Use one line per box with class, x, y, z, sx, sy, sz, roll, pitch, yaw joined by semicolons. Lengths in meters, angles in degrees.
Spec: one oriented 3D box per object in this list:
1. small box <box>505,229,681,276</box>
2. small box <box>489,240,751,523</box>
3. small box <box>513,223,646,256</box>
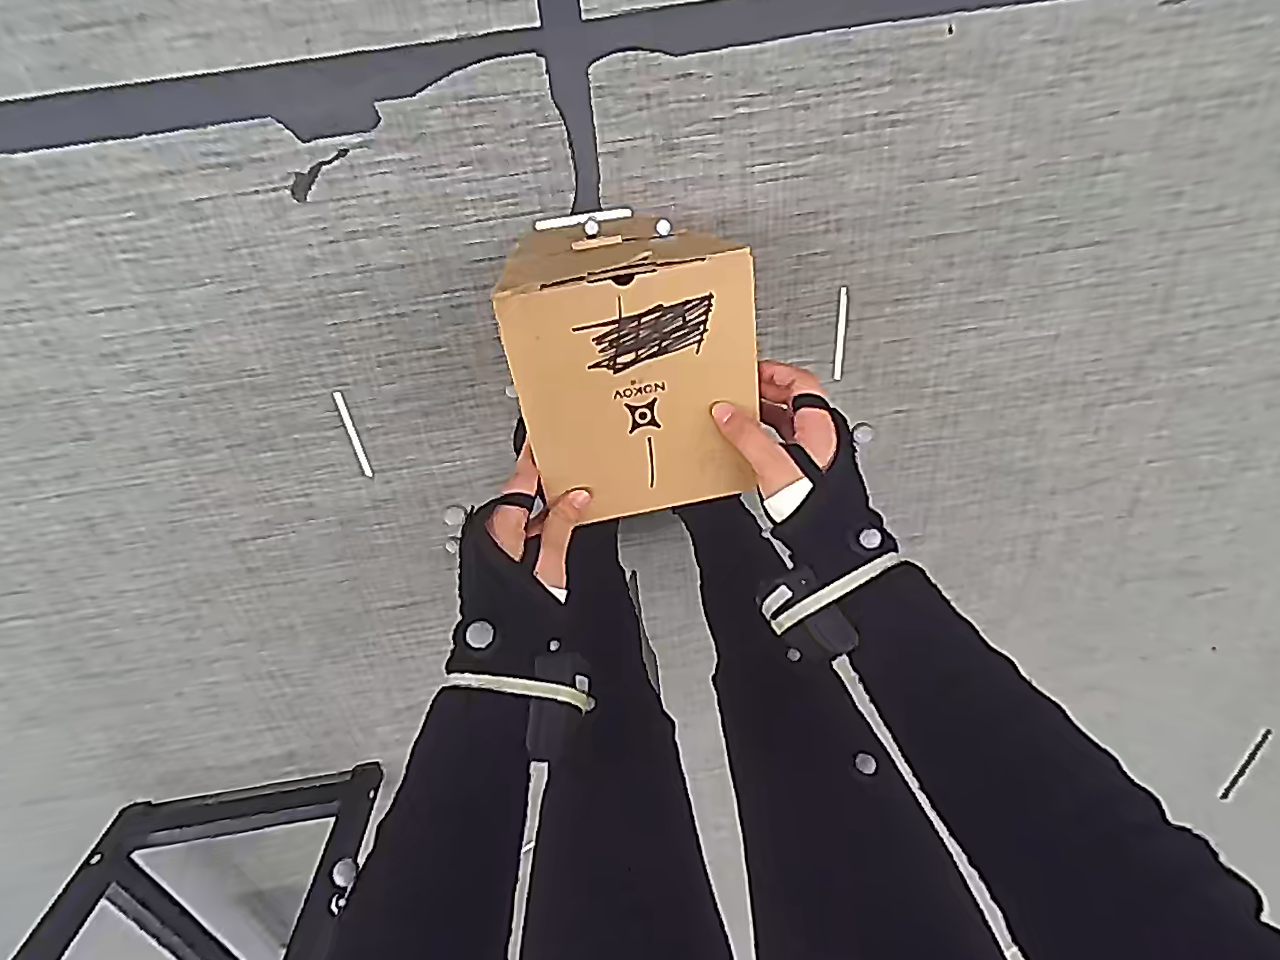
small box;-0.041;-0.170;0.593;0.168;0.176;0.179;-11;118;-2
small box;-0.016;-0.093;0.448;0.168;0.176;0.179;-11;119;-3
small box;-0.063;-0.248;0.736;0.179;0.176;0.168;-9;118;-2
